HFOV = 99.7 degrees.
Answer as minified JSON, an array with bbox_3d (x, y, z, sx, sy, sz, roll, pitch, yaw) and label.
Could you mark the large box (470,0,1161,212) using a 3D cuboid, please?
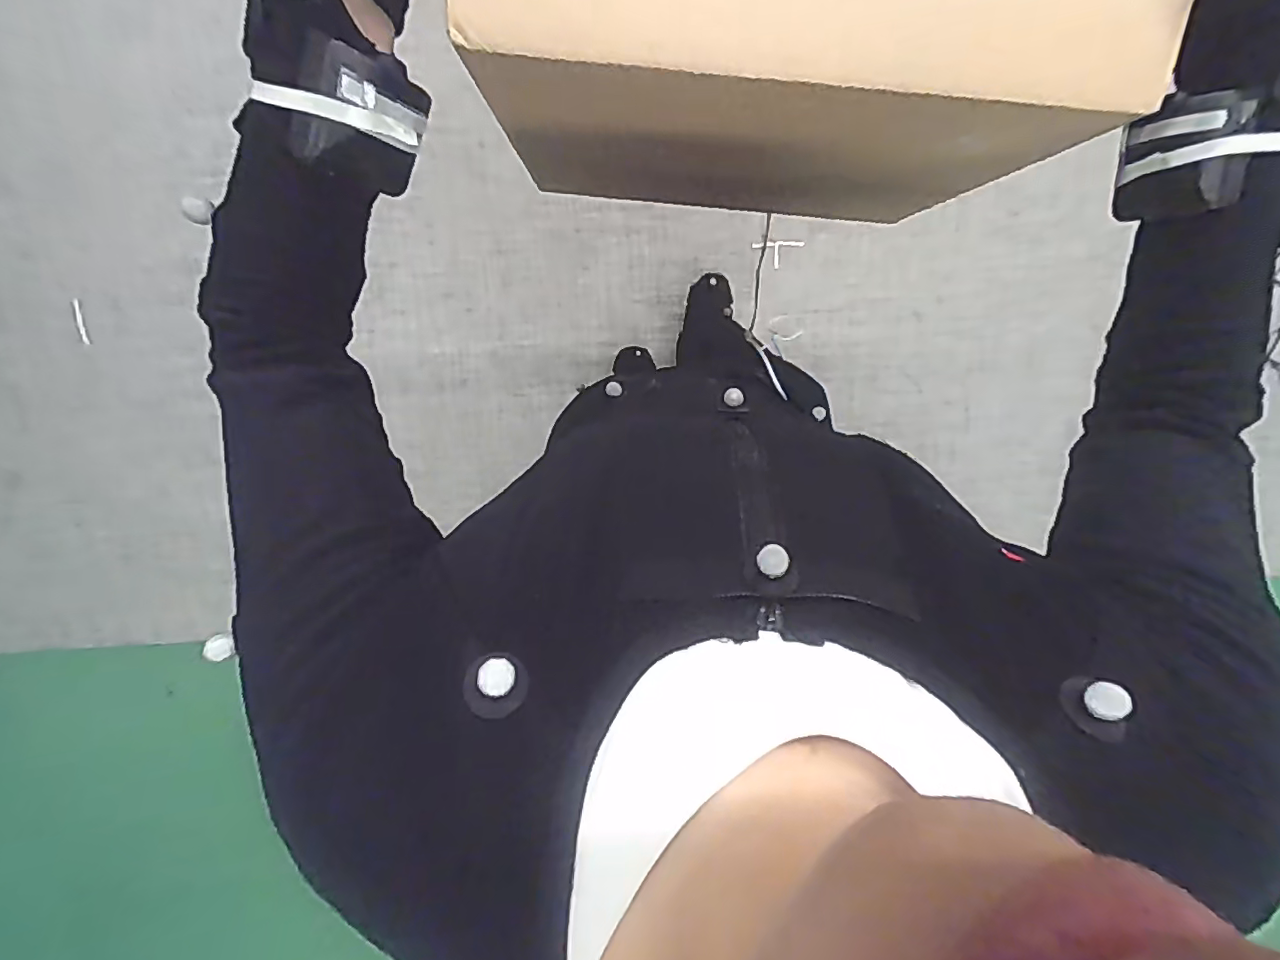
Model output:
[{"bbox_3d":[0.102,-0.419,0.423,0.408,0.320,0.320,3,105,-2],"label":"large box"}]
